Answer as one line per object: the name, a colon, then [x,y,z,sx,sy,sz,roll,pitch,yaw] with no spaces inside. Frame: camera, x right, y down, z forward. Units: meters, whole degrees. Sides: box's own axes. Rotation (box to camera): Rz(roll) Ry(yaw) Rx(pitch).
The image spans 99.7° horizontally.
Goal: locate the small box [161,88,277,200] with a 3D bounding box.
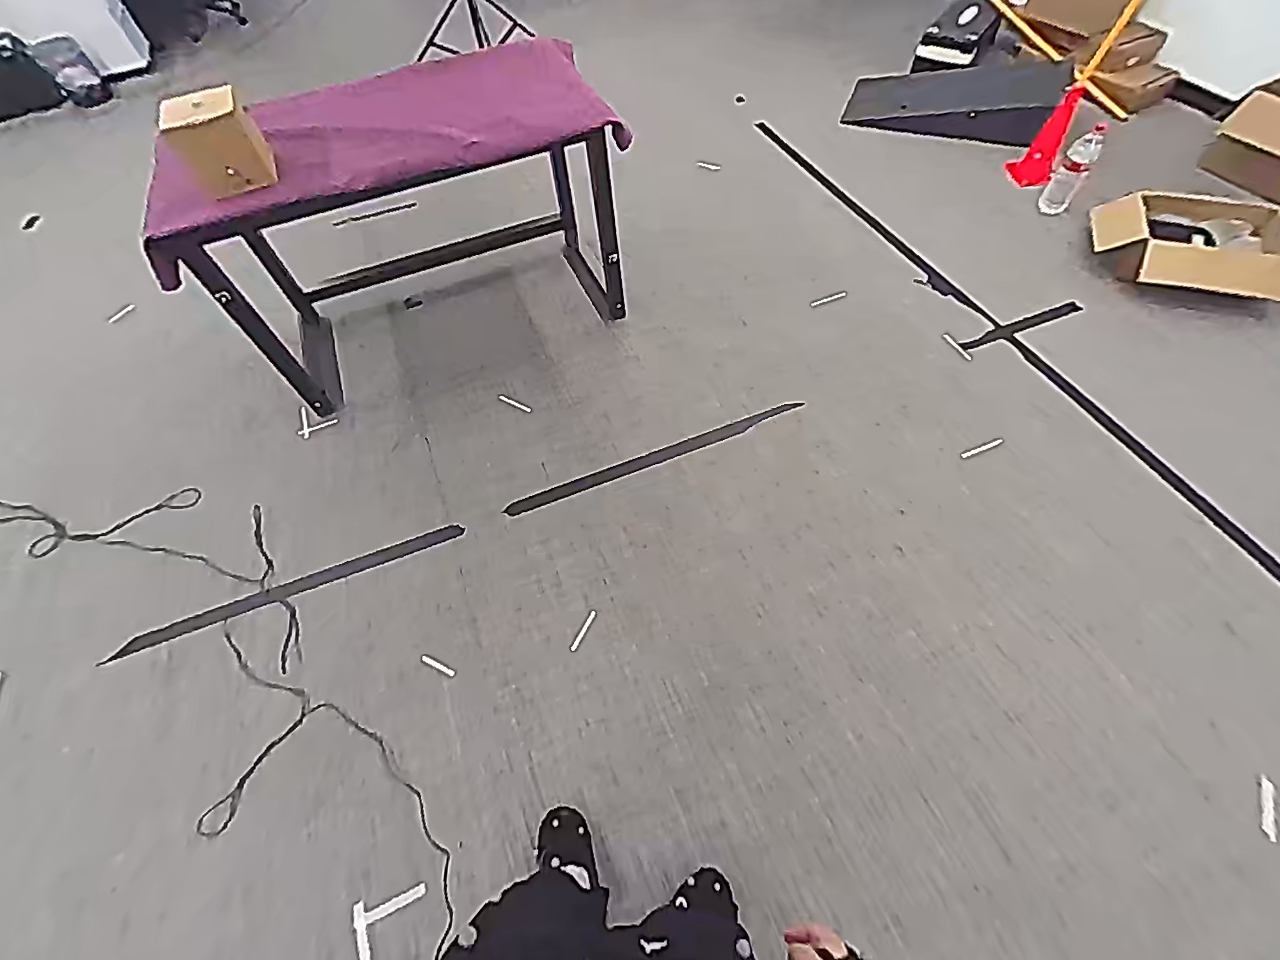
small box: [-1.048,-0.840,1.358,0.168,0.176,0.179,-23,59,-10]
